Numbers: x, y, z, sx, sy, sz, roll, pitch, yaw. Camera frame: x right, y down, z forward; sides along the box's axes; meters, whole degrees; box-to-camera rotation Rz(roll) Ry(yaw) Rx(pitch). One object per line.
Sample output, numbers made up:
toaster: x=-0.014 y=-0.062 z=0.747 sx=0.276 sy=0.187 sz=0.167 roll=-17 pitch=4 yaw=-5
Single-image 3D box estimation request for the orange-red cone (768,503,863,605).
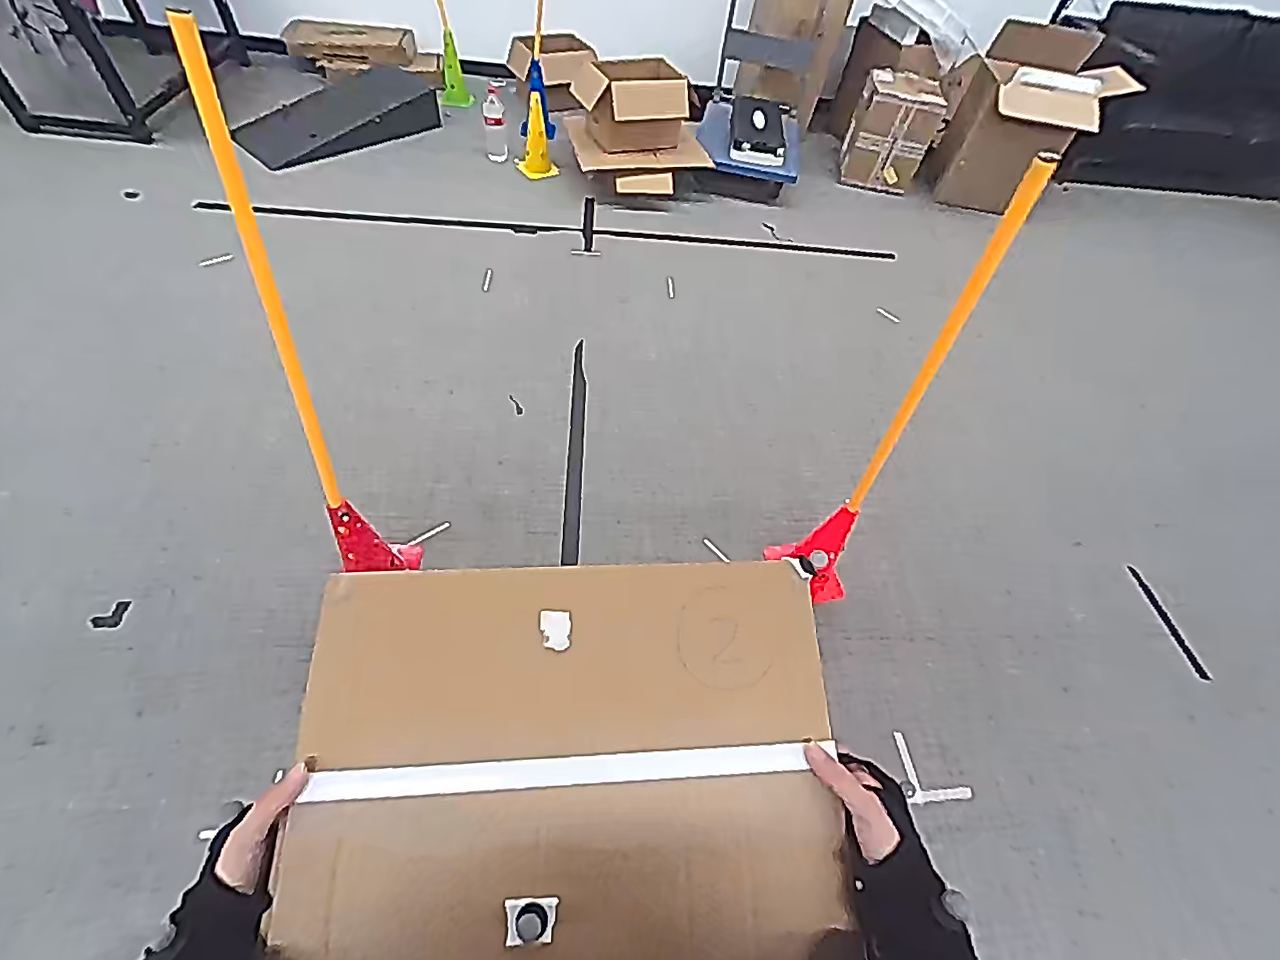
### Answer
orange-red cone: x=0.513 y=0.174 z=1.473 sx=0.199 sy=0.360 sz=0.198 roll=-5 pitch=55 yaw=-12
